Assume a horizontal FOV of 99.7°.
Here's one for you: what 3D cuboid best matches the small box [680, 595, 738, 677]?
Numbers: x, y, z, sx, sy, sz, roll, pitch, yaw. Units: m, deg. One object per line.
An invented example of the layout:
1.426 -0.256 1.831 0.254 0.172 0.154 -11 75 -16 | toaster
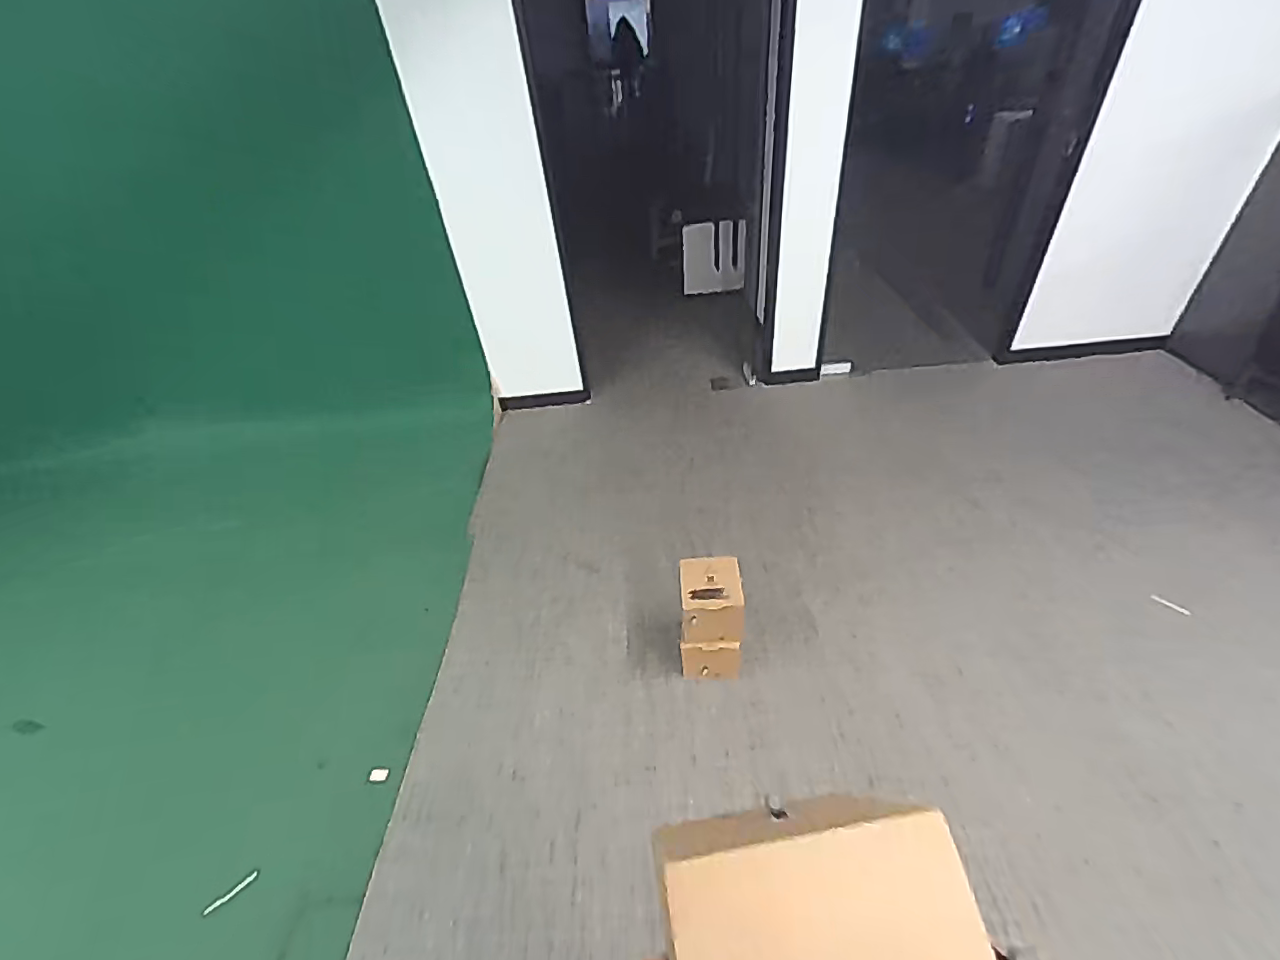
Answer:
0.208 0.473 1.641 0.168 0.176 0.179 -1 41 7 | small box
